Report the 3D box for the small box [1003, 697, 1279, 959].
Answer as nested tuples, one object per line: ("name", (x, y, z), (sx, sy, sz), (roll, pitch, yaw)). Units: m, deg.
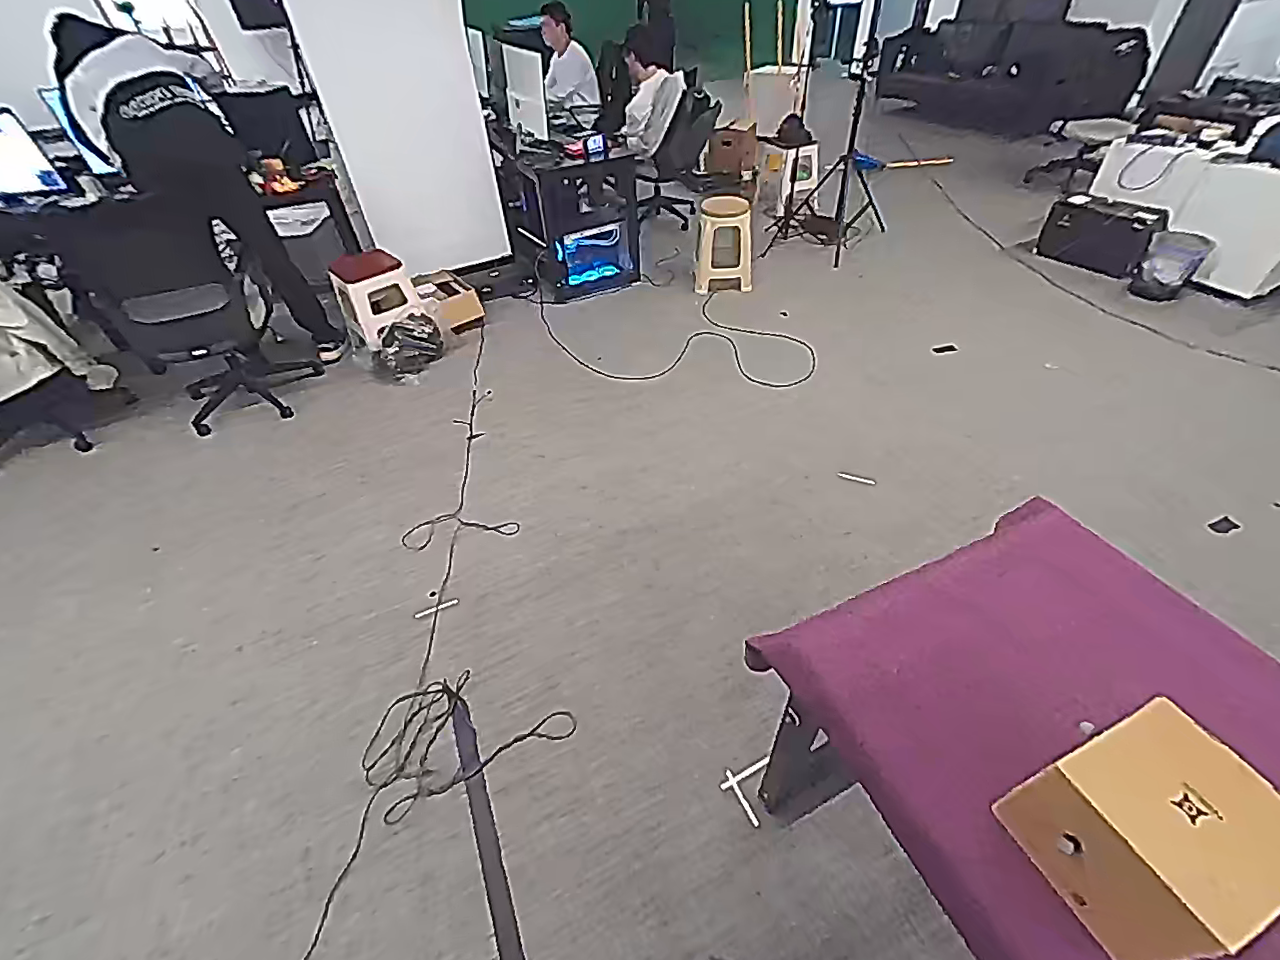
("small box", (0.541, 0.378, 0.590), (0.179, 0.176, 0.168), (-18, 46, -16))
